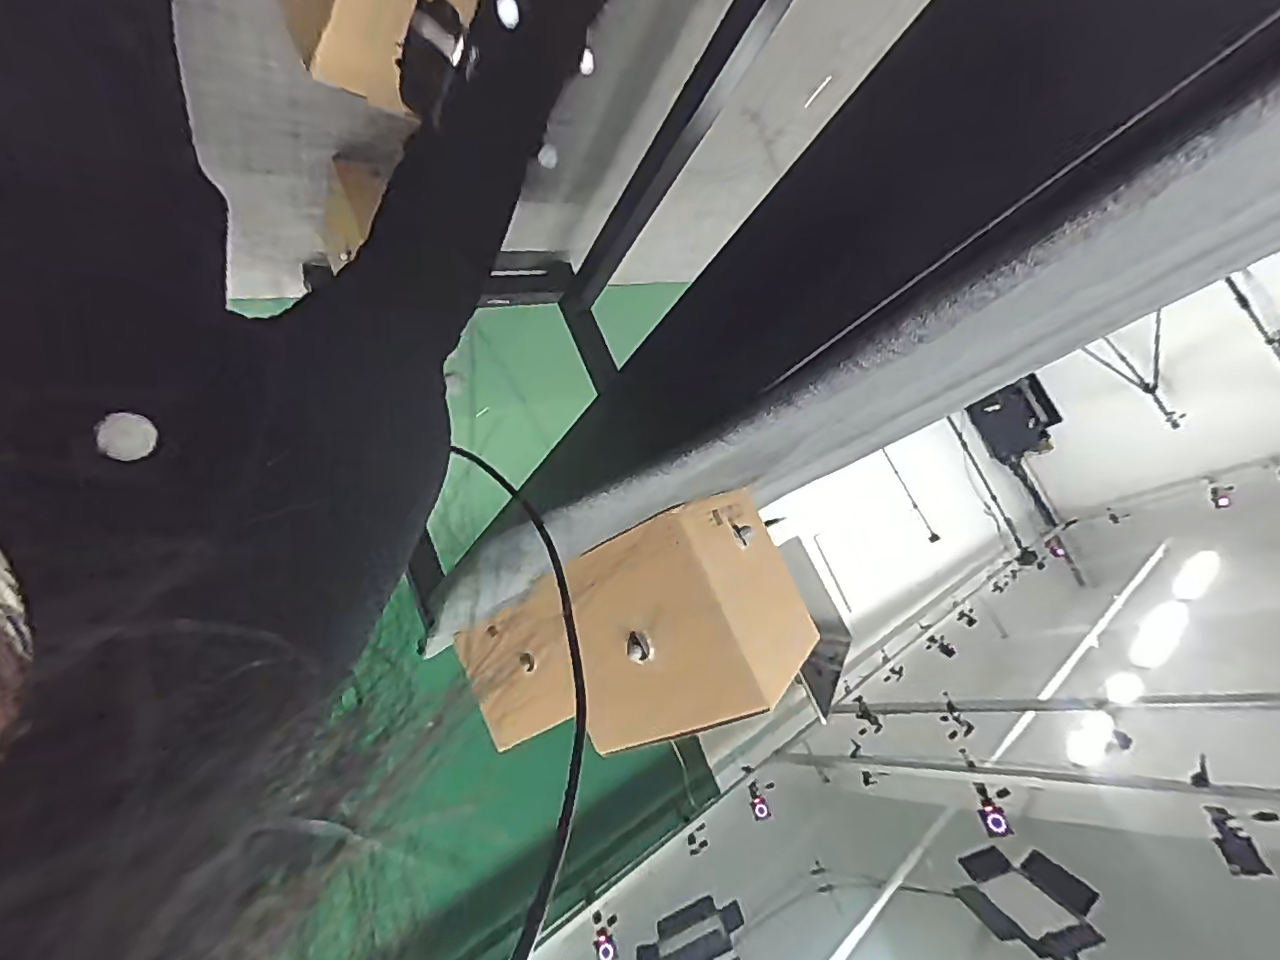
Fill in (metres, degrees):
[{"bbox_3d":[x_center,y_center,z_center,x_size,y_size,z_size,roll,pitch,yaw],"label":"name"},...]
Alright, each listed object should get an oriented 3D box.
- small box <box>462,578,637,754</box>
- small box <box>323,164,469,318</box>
[{"bbox_3d":[-0.127,0.256,0.788,0.168,0.176,0.179,-28,170,7],"label":"small box"},{"bbox_3d":[-0.423,-0.400,0.925,0.168,0.176,0.179,-15,168,-40],"label":"small box"}]
